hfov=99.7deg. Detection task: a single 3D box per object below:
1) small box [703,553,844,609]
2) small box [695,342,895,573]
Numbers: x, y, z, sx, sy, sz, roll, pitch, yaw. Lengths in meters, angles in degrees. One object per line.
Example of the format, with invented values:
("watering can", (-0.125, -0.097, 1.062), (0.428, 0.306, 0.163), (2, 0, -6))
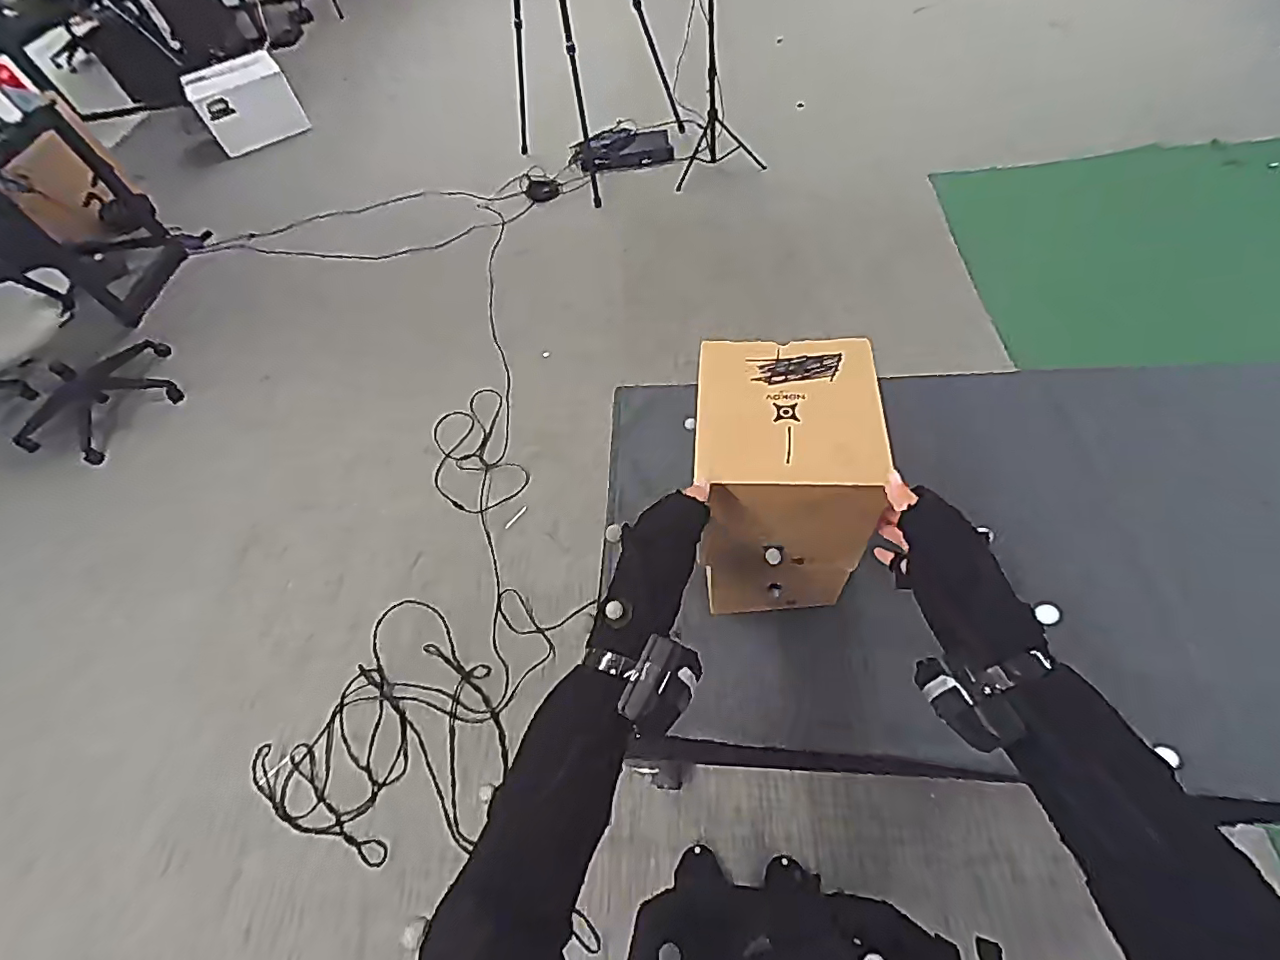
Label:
("small box", (0.165, 0.059, 0.703), (0.168, 0.176, 0.179), (-5, 54, 4))
("small box", (0.144, -0.021, 0.560), (0.168, 0.176, 0.179), (1, 57, 9))
